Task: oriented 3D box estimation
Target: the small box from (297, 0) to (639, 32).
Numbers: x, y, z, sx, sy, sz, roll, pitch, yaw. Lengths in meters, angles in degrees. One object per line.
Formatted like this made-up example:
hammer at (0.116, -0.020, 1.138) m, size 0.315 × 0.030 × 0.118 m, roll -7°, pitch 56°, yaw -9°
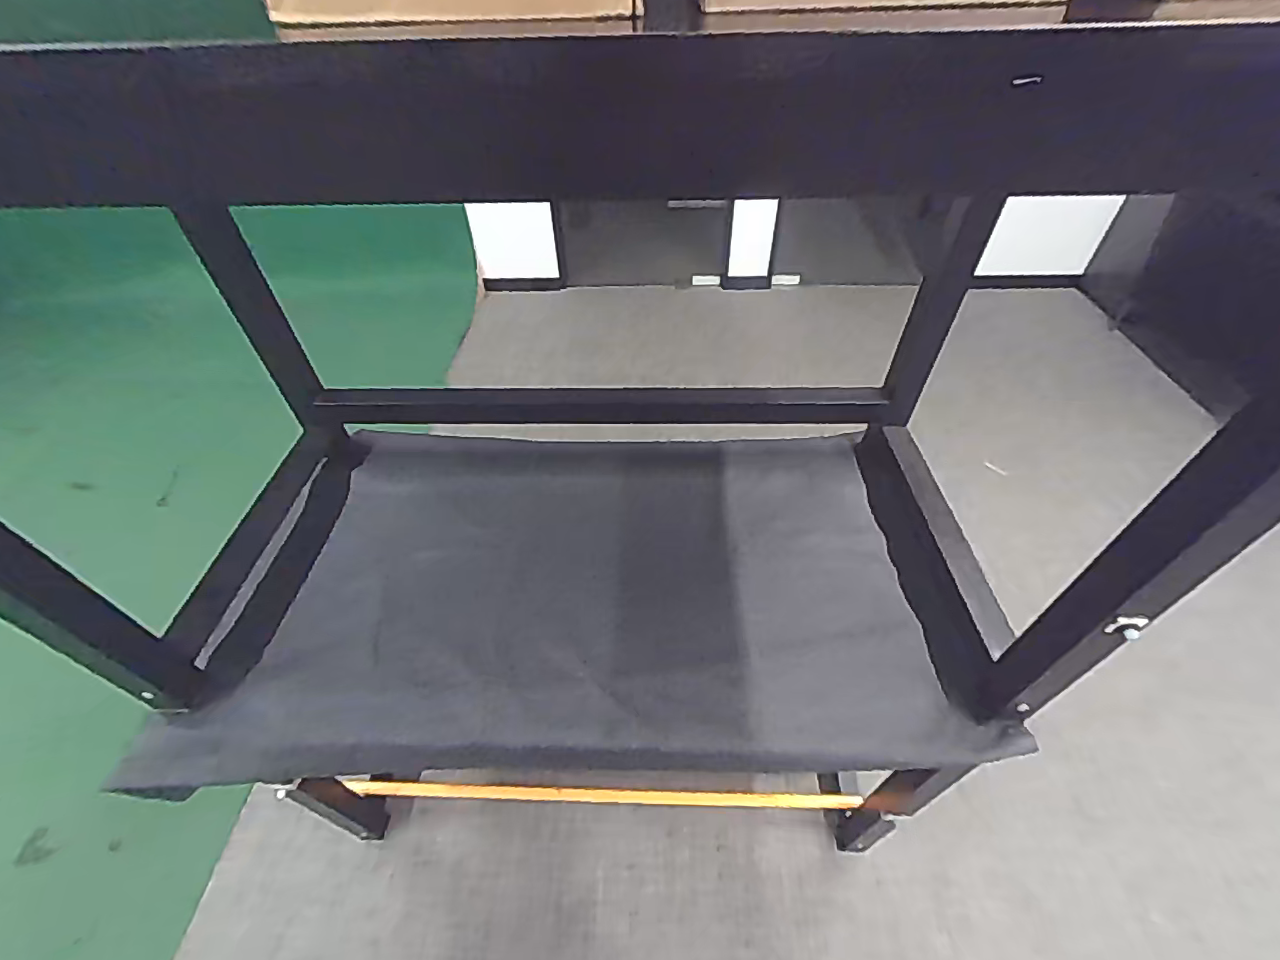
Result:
small box at (-0.081, -0.325, 0.247) m, size 0.168 × 0.176 × 0.179 m, roll 0°, pitch 46°, yaw 1°
